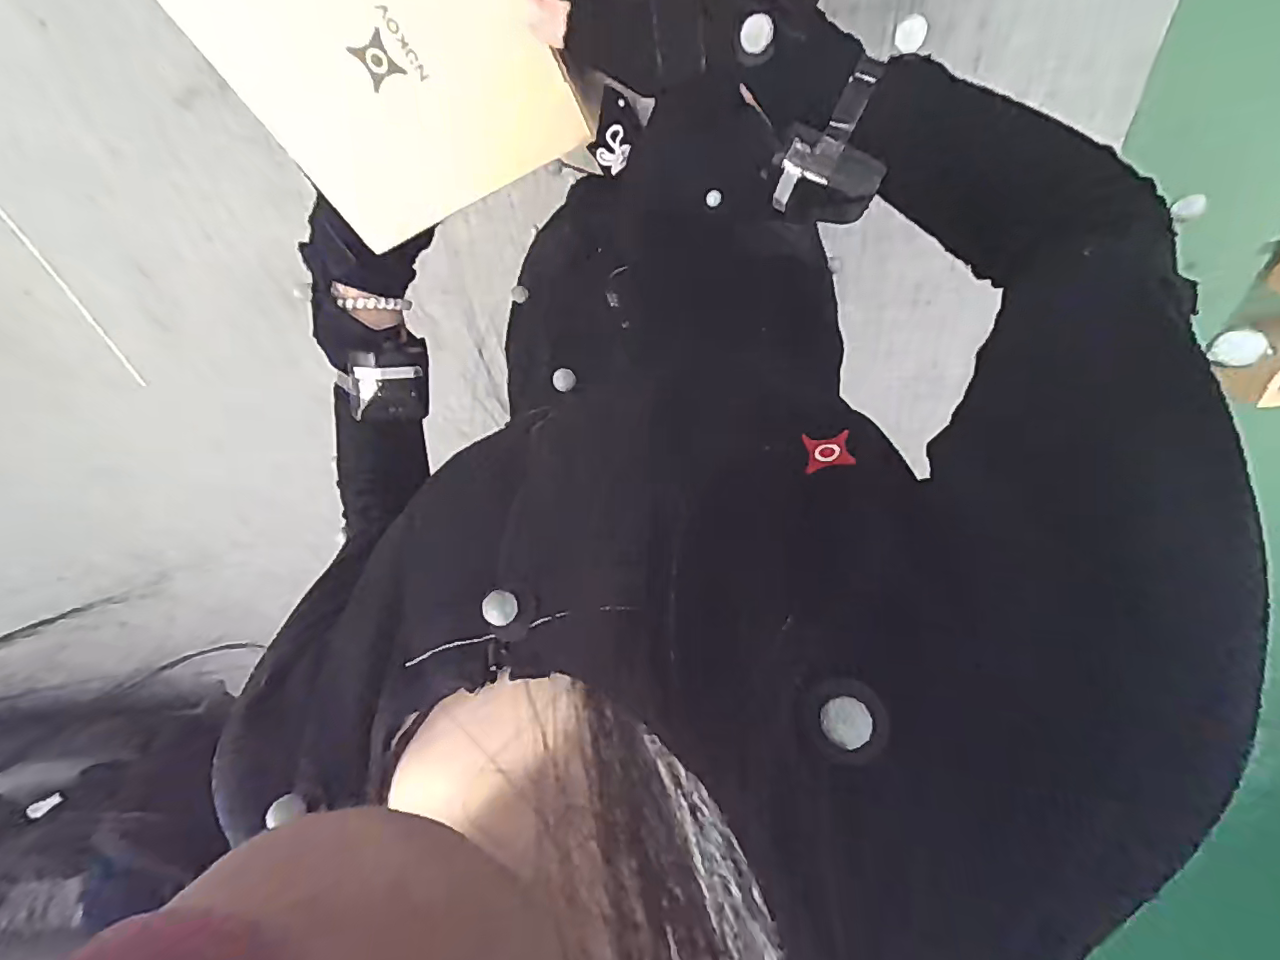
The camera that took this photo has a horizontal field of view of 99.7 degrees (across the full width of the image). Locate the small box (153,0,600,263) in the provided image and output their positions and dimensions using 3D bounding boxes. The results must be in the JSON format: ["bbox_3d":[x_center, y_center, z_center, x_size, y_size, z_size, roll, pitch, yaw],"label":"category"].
[{"bbox_3d":[-0.137,-0.281,0.347,0.179,0.176,0.168,-18,136,18],"label":"small box"}]
